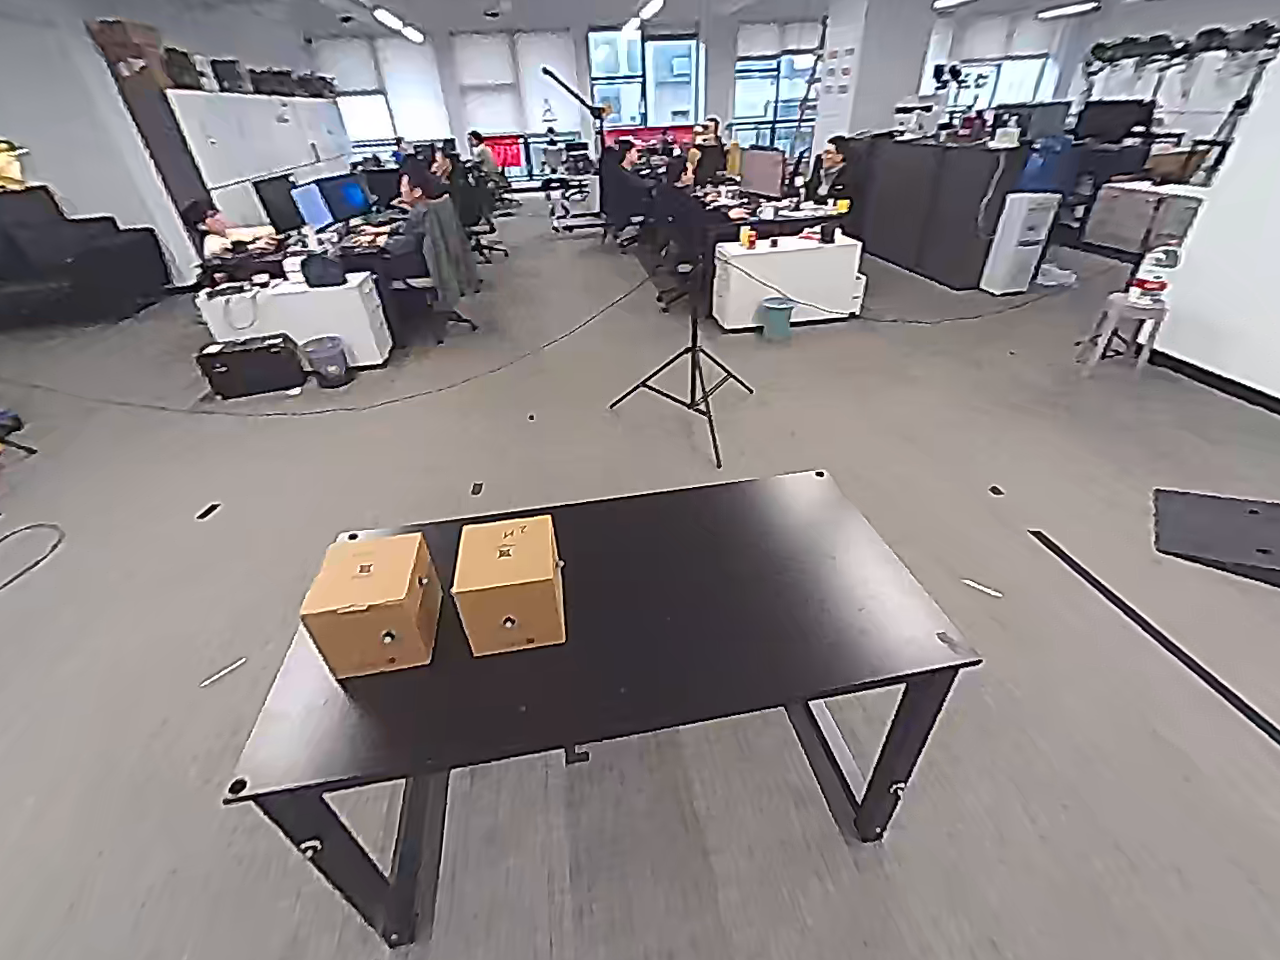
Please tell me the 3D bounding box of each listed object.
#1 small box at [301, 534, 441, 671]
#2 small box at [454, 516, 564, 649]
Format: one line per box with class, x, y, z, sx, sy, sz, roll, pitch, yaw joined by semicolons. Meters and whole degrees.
small box;-0.470;0.225;0.978;0.168;0.176;0.179;-7;33;-8
small box;-0.233;0.193;1.002;0.168;0.176;0.179;-7;34;-6
